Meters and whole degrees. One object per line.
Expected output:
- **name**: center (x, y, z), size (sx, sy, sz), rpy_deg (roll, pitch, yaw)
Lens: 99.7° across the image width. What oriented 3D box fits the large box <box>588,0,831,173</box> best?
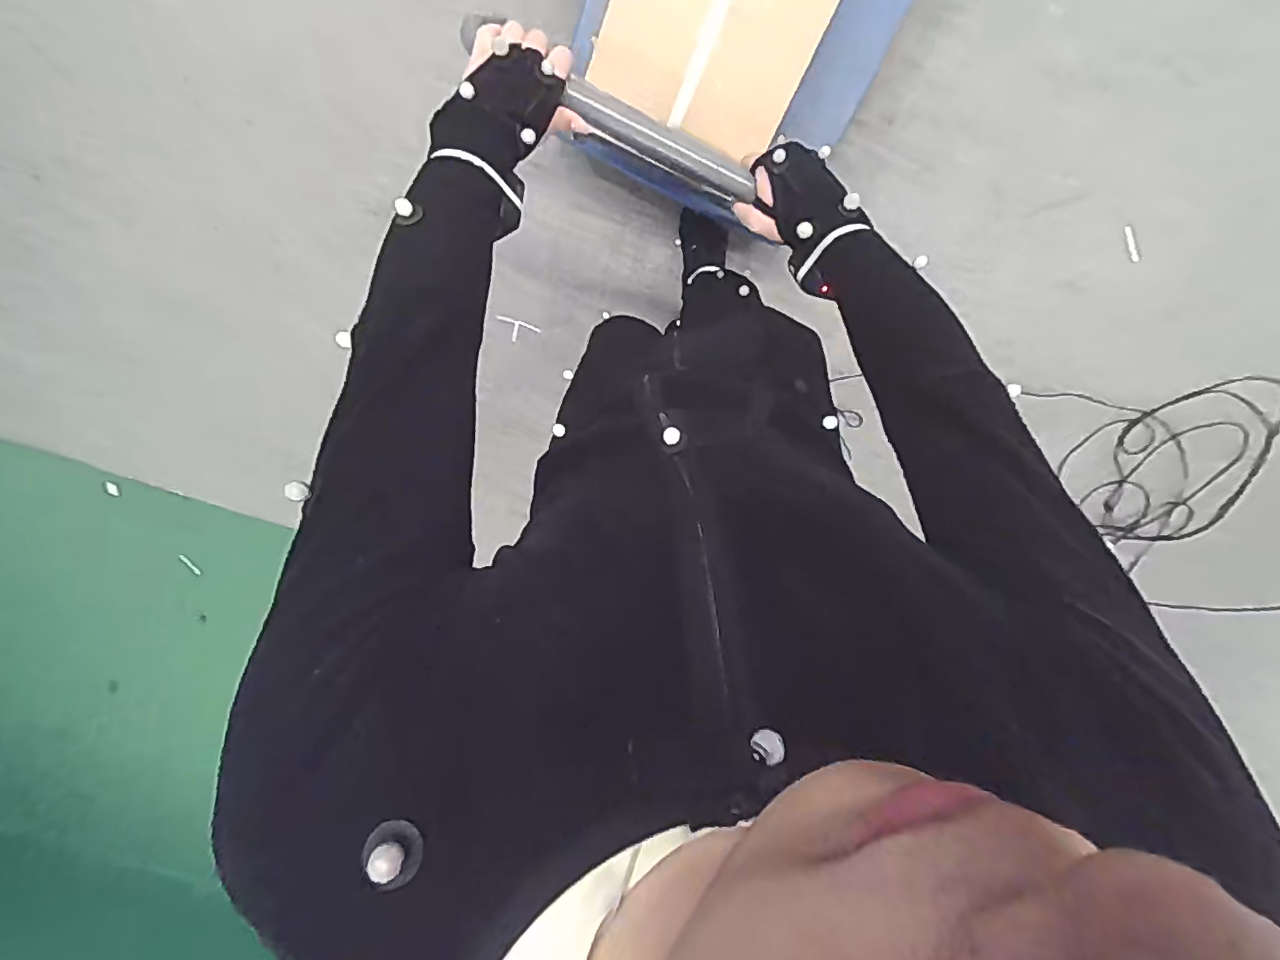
- **large box**: center (0.144, -0.813, 0.936), size (0.320, 0.320, 0.408), rpy_deg (24, 117, -7)
